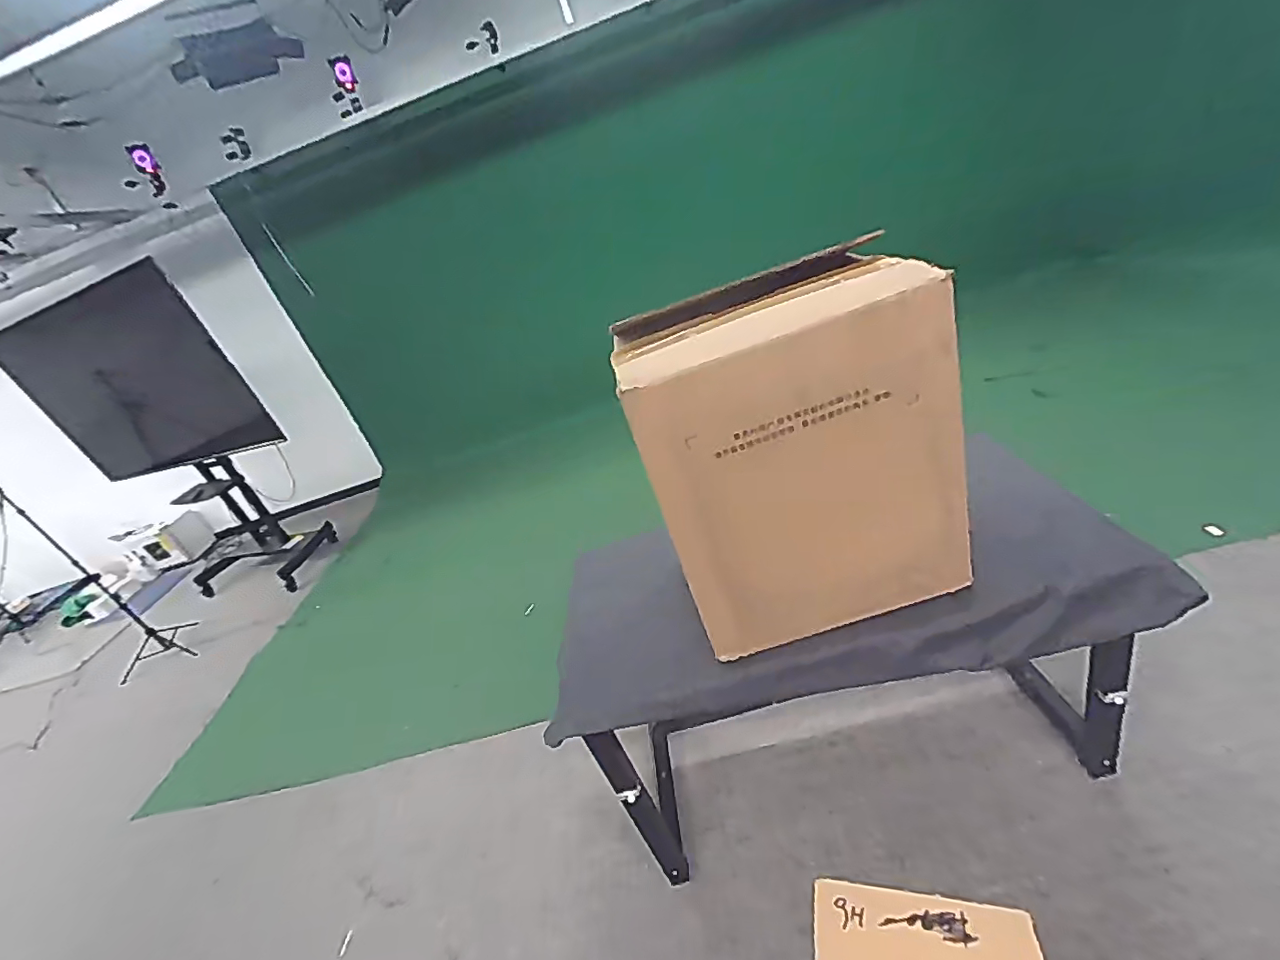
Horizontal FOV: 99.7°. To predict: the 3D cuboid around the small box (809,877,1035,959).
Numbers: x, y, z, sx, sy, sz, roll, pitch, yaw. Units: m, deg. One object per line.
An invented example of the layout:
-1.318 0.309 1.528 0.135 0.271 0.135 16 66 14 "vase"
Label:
0.224 0.462 0.419 0.168 0.176 0.179 -4 23 19 "small box"
